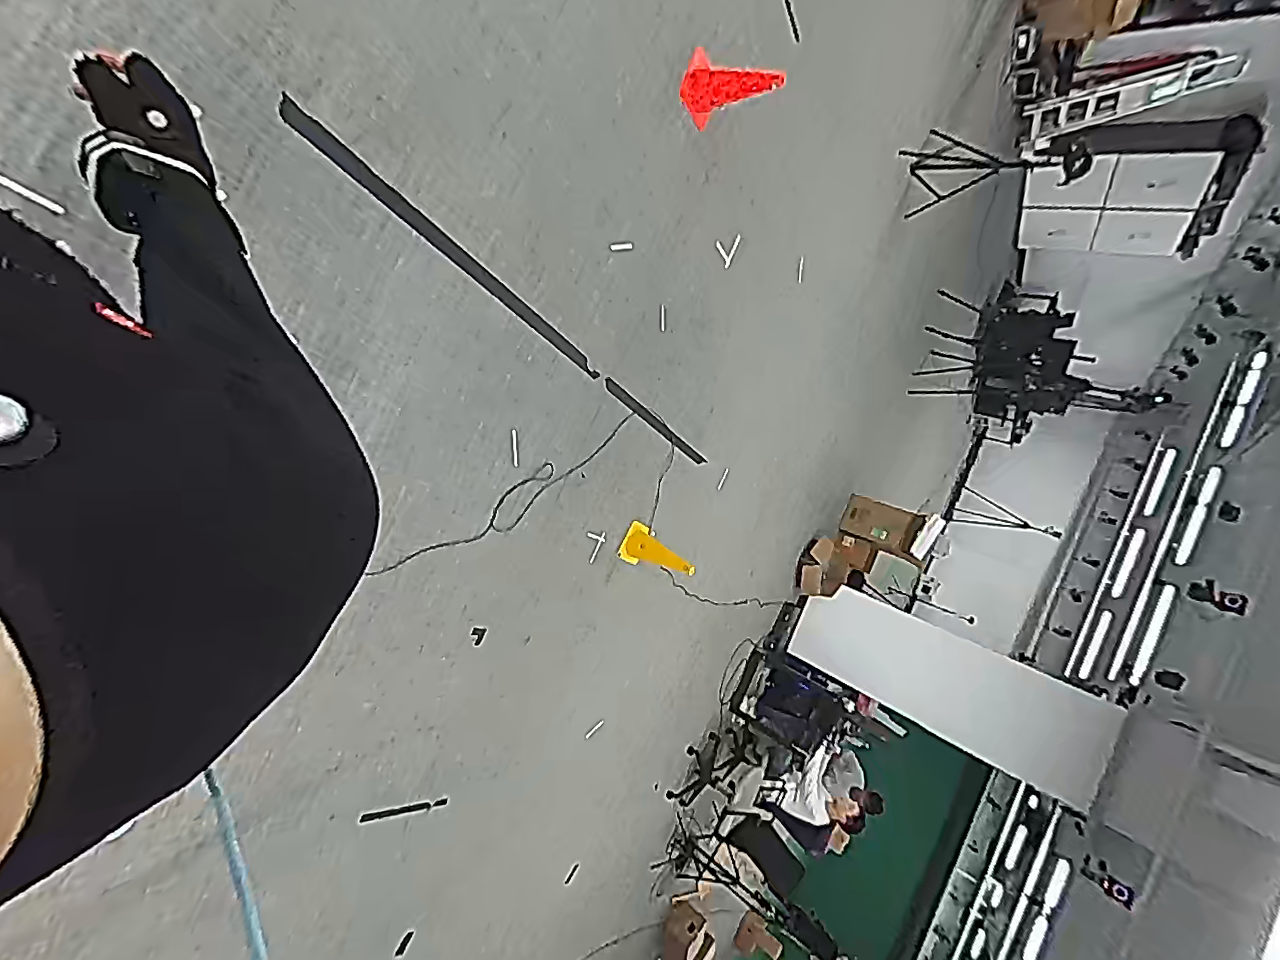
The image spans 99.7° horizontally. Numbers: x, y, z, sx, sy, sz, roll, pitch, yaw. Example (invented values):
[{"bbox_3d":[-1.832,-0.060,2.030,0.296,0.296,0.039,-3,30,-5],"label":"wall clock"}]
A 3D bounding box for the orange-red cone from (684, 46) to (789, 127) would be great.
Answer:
[{"bbox_3d":[0.370,-1.448,1.963,0.199,0.360,0.198,23,89,-54],"label":"orange-red cone"}]
